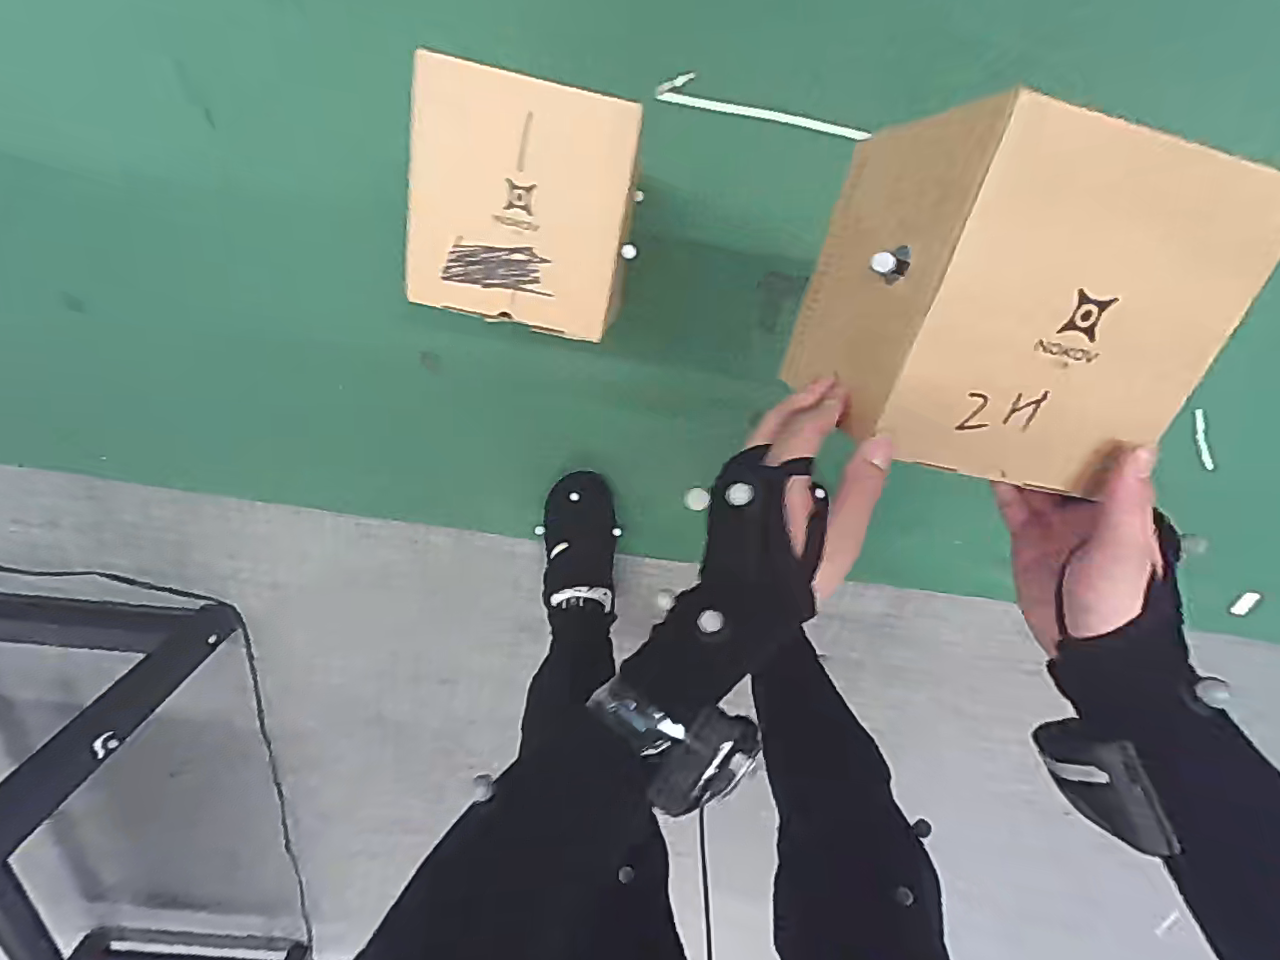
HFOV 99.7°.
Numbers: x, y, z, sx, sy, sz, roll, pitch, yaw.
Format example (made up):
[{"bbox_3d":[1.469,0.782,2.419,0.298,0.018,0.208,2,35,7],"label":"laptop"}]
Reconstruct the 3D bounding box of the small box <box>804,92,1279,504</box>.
[{"bbox_3d":[0.228,-0.111,0.351,0.168,0.176,0.179,11,115,-7],"label":"small box"}]
